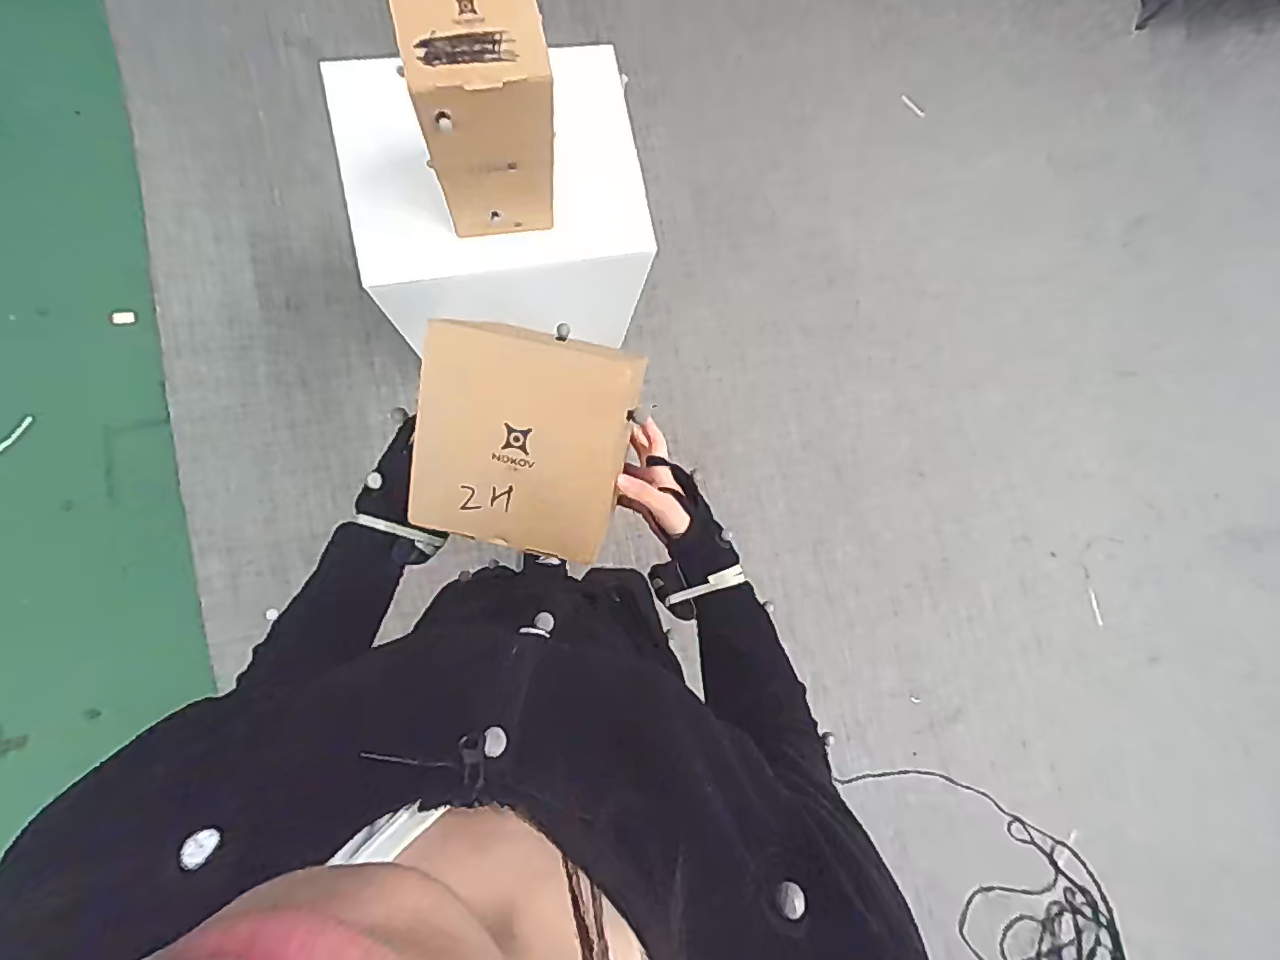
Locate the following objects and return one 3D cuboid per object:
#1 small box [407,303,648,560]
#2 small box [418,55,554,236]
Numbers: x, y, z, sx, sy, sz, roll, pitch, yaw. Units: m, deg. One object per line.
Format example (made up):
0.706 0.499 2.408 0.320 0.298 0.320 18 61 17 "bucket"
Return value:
-0.090 -0.053 0.501 0.168 0.176 0.179 13 106 1 "small box"
-0.232 -0.513 0.846 0.168 0.176 0.179 -11 86 -10 "small box"
